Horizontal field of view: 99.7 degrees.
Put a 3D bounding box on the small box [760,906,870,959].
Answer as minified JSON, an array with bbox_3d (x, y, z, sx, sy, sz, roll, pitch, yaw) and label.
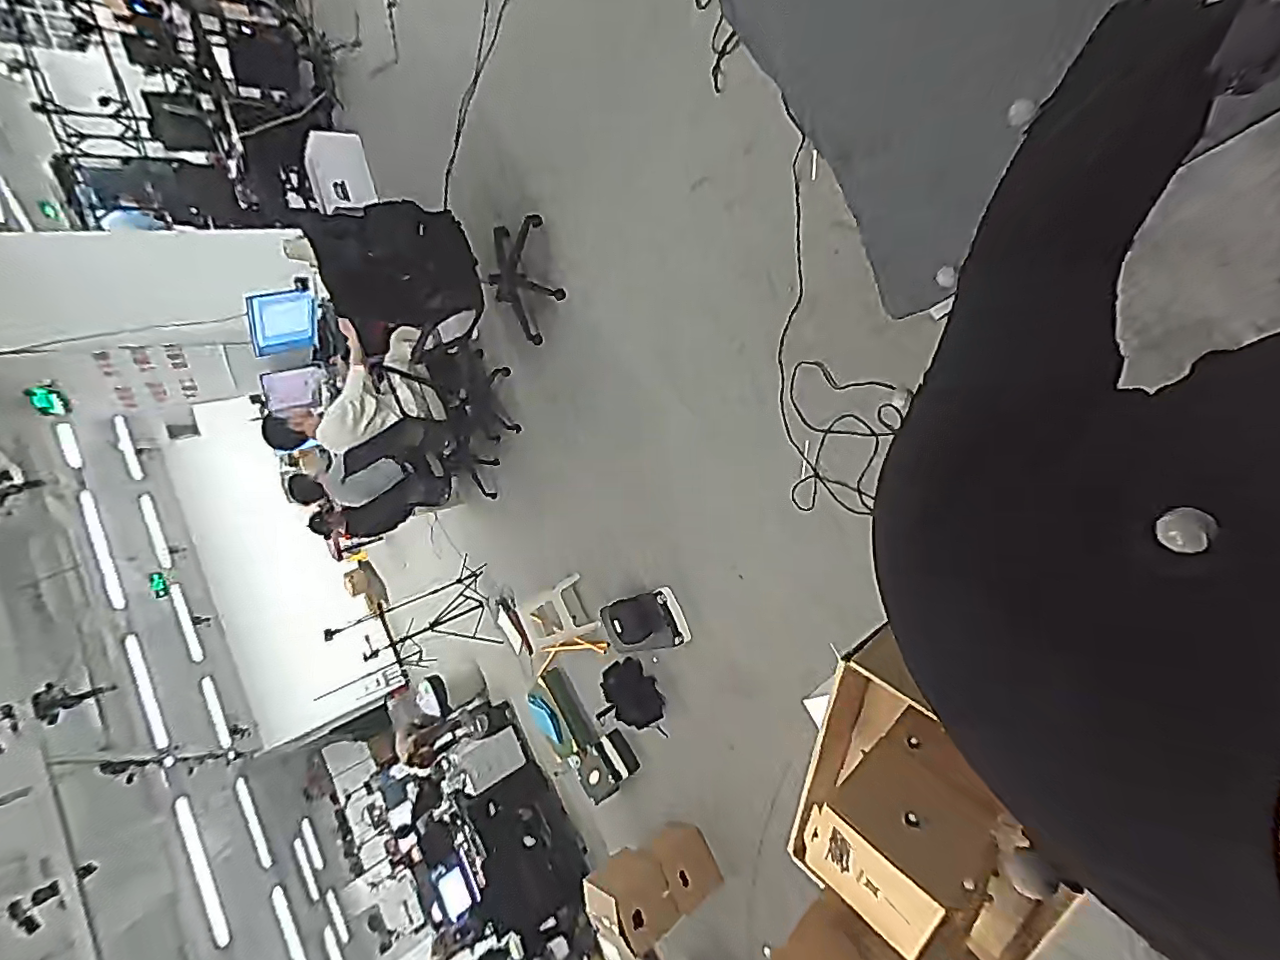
[{"bbox_3d":[0.270,0.808,0.829,0.179,0.176,0.168,35,132,37],"label":"small box"}]

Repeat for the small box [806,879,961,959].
[{"bbox_3d":[0.412,0.781,0.914,0.179,0.176,0.168,-4,104,51],"label":"small box"}]

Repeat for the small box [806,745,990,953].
[{"bbox_3d":[0.387,0.540,0.822,0.179,0.176,0.168,31,132,39],"label":"small box"}]
